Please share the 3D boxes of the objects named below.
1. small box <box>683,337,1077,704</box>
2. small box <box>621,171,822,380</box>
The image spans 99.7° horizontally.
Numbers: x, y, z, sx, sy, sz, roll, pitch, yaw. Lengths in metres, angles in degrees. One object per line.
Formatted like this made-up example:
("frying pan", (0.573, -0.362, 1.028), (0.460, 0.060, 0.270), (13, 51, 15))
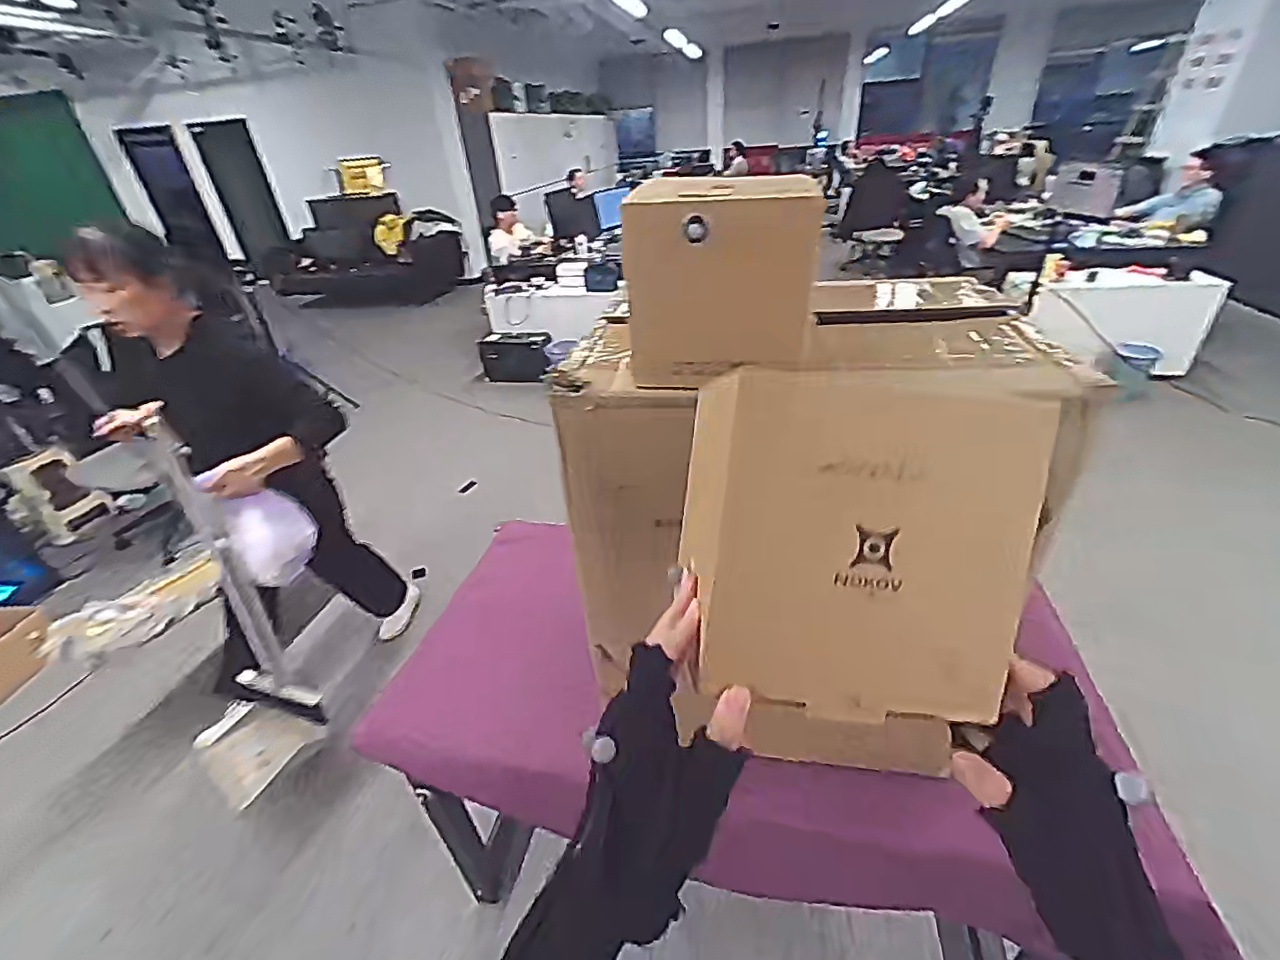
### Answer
("small box", (0.123, 0.015, 0.352), (0.168, 0.179, 0.176), (6, 7, -2))
("small box", (0.081, -0.209, 0.547), (0.168, 0.176, 0.179), (2, 33, 10))
